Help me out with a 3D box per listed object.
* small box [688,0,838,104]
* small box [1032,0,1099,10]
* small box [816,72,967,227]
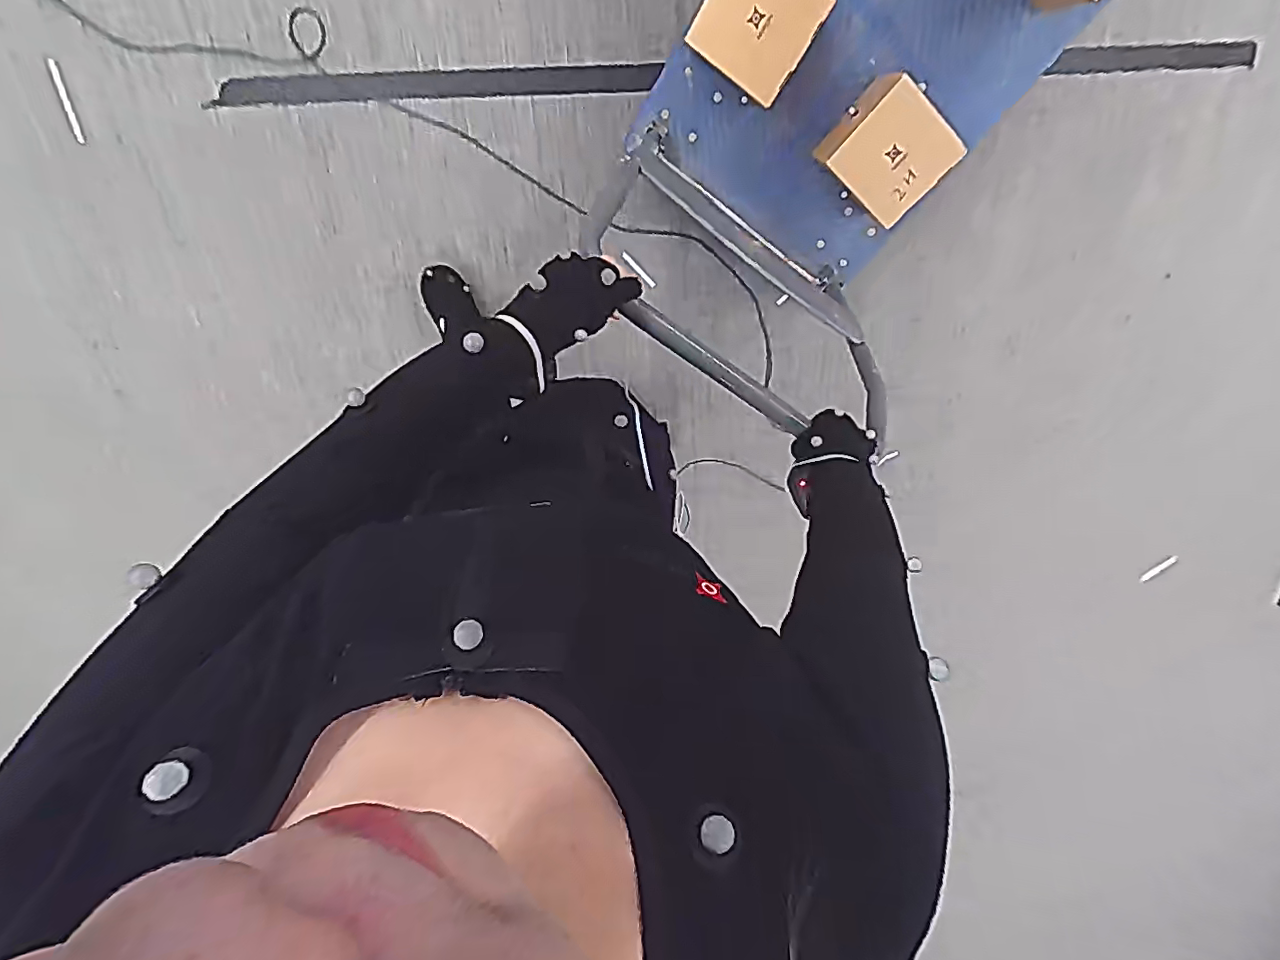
[{"bbox_3d":[0.195,-0.771,0.910,0.179,0.176,0.168,28,124,-16],"label":"small box"},{"bbox_3d":[0.687,-0.848,0.795,0.179,0.176,0.168,-36,115,29],"label":"small box"},{"bbox_3d":[0.452,-0.607,1.000,0.179,0.176,0.168,36,123,-18],"label":"small box"}]
